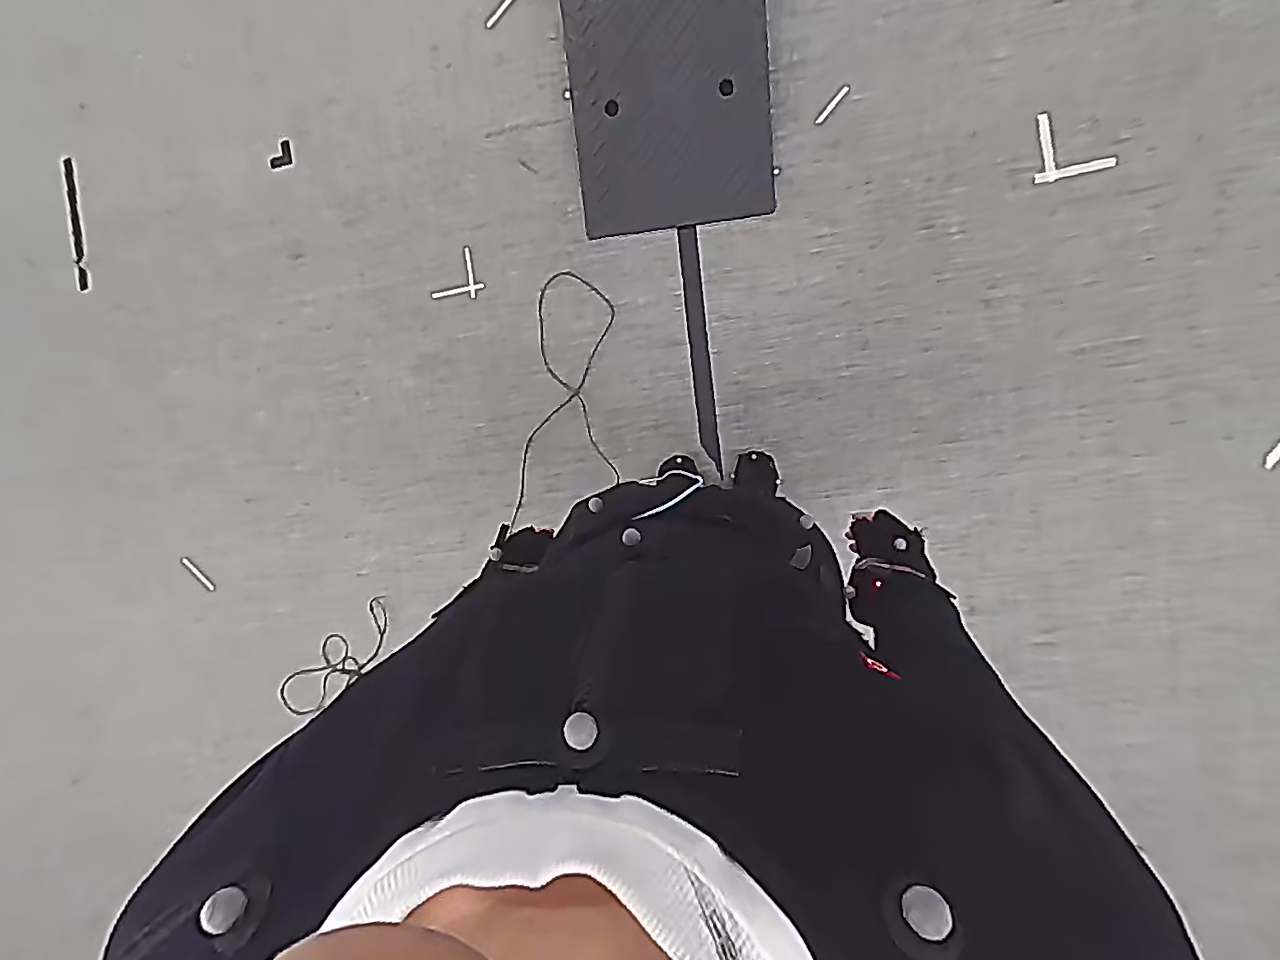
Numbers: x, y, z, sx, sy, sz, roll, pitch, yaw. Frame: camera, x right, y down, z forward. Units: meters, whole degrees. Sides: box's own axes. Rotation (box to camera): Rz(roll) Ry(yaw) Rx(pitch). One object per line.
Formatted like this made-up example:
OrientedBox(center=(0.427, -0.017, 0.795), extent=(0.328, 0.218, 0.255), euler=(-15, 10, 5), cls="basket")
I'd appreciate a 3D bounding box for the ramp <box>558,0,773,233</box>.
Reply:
OrientedBox(center=(0.046, -1.155, 1.287), extent=(0.509, 0.206, 0.991), euler=(-6, 93, 8), cls="ramp")
